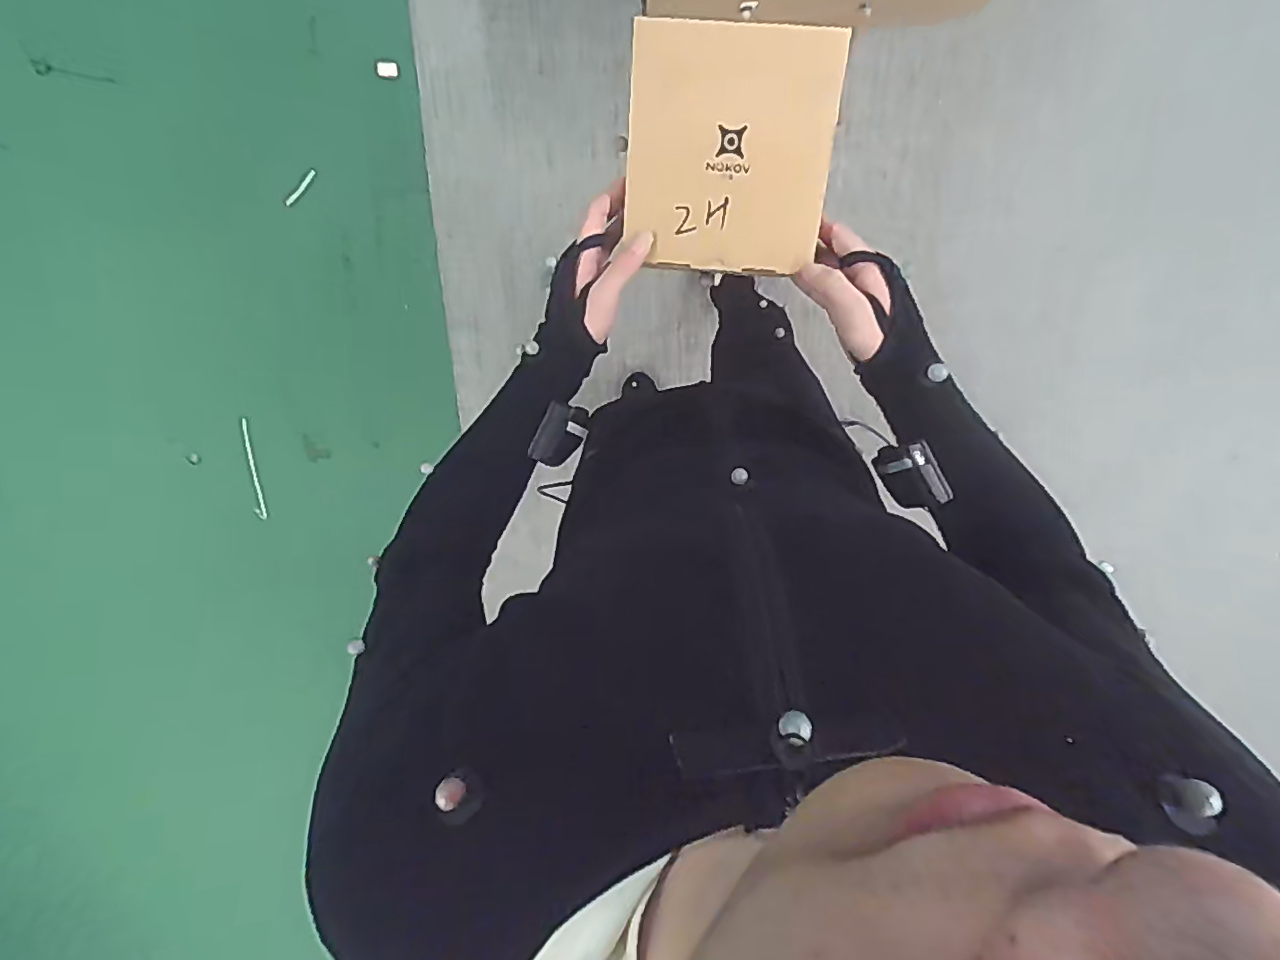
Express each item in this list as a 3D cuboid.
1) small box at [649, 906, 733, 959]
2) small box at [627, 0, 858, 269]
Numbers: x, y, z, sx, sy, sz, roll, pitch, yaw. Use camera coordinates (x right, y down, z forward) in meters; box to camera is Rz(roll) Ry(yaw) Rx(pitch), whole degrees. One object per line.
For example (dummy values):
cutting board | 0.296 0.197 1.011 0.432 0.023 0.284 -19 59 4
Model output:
small box | 0.104 1.004 1.085 0.168 0.176 0.179 -3 106 1
small box | 0.080 -0.300 0.509 0.168 0.176 0.179 5 111 1
